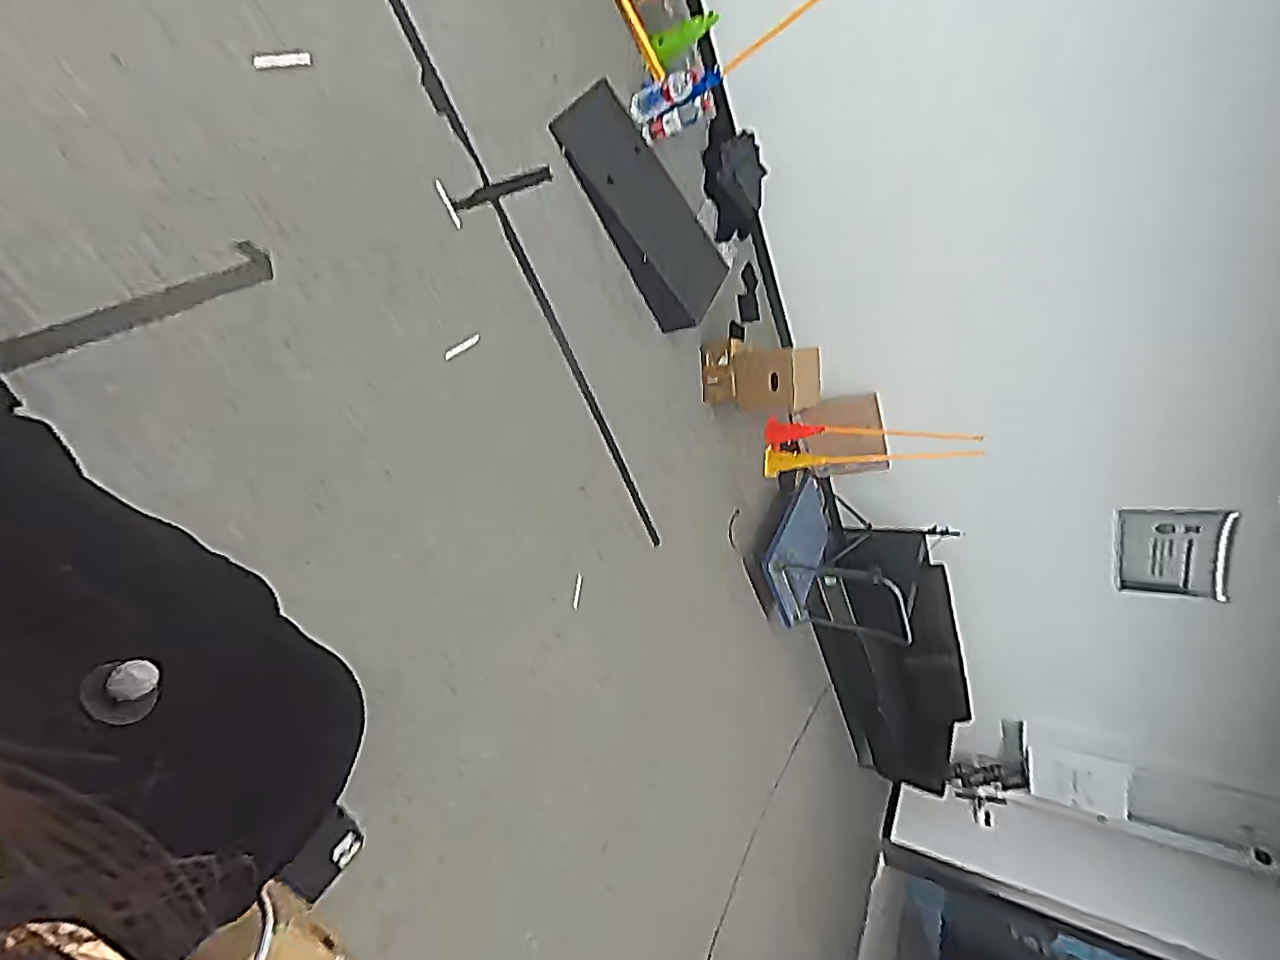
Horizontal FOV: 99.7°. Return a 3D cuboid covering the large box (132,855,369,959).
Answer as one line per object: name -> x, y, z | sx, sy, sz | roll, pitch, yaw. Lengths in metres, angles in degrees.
large box -> -0.740, 0.977, 0.931 | 0.408, 0.320, 0.320 | -51, 127, -41
